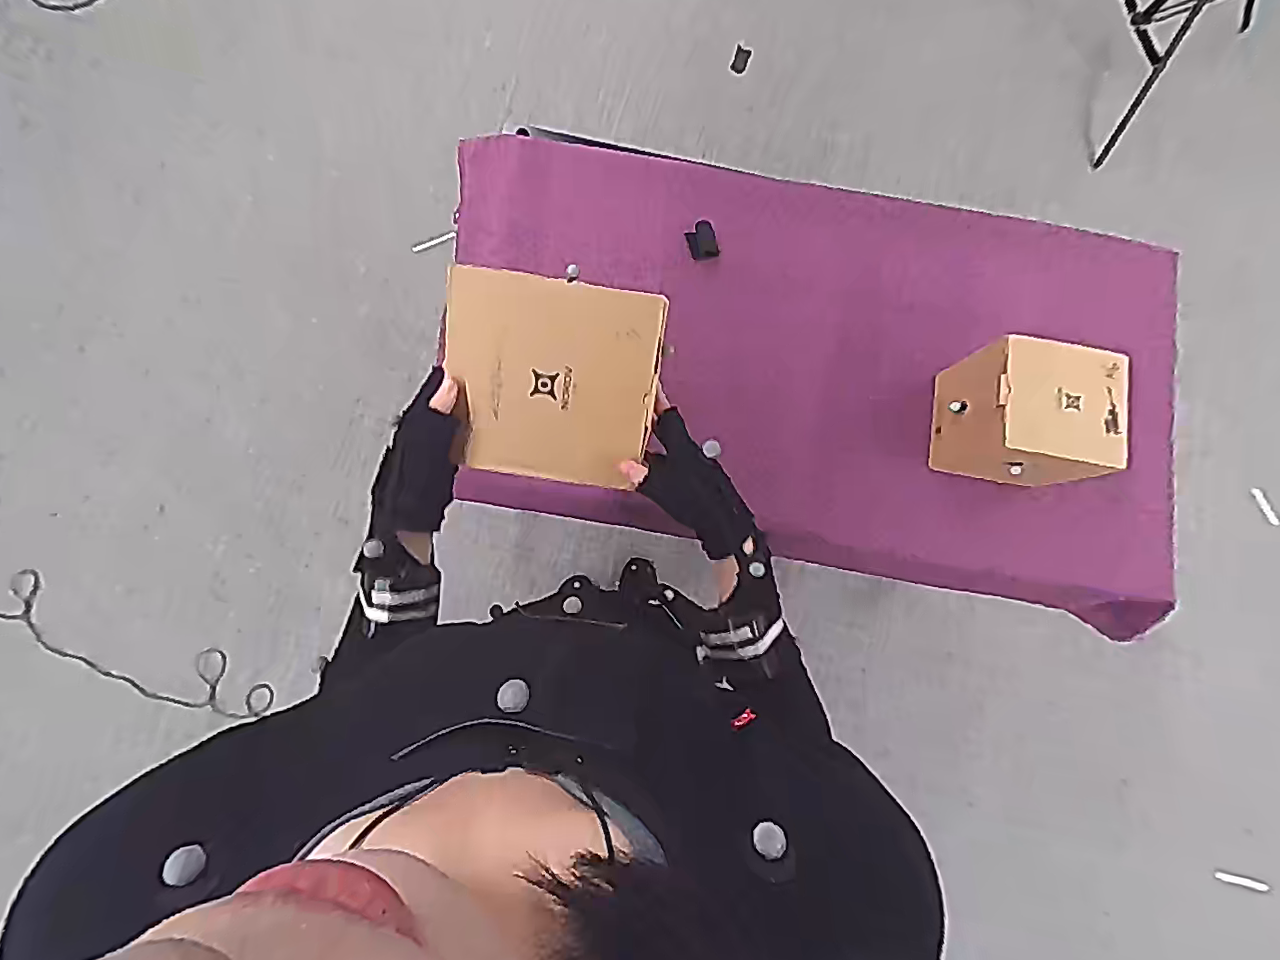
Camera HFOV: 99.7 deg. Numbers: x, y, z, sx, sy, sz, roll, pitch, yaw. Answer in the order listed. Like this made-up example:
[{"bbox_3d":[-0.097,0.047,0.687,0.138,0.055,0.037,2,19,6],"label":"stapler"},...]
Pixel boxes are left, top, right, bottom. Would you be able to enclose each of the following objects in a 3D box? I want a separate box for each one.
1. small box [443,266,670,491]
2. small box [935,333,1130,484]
[{"bbox_3d":[-0.071,-0.102,0.516,0.179,0.176,0.168,8,108,-1],"label":"small box"},{"bbox_3d":[0.570,-0.095,0.805,0.179,0.176,0.168,10,80,-1],"label":"small box"}]
